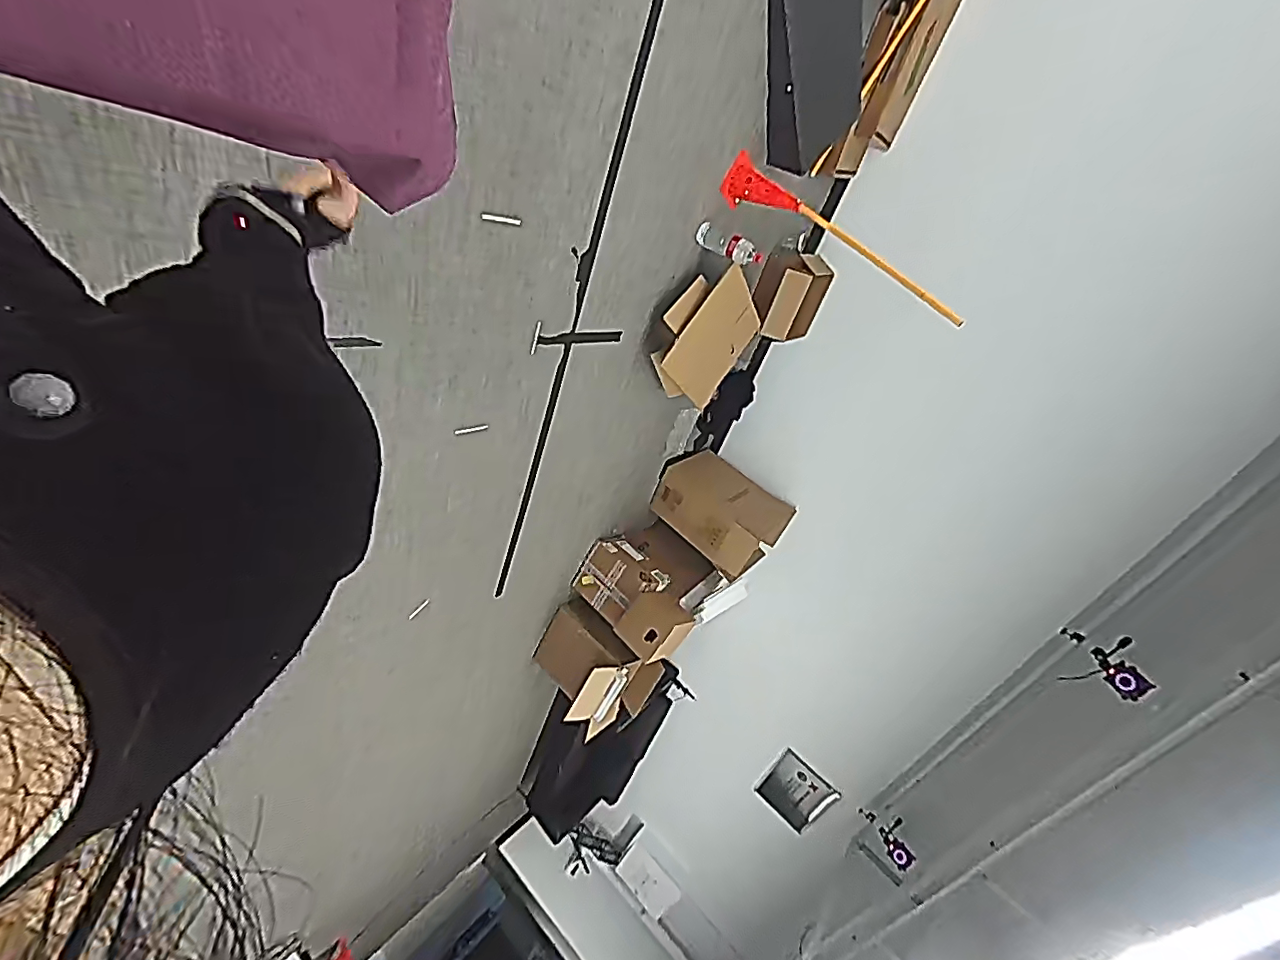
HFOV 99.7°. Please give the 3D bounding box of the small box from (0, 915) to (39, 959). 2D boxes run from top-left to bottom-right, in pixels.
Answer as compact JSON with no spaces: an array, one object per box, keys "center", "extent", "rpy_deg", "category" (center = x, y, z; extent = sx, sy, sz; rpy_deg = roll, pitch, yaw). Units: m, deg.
[{"center":[-1.711,1.299,1.408],"extent":[0.179,0.176,0.168],"rpy_deg":[-21,140,-48],"category":"small box"}]
